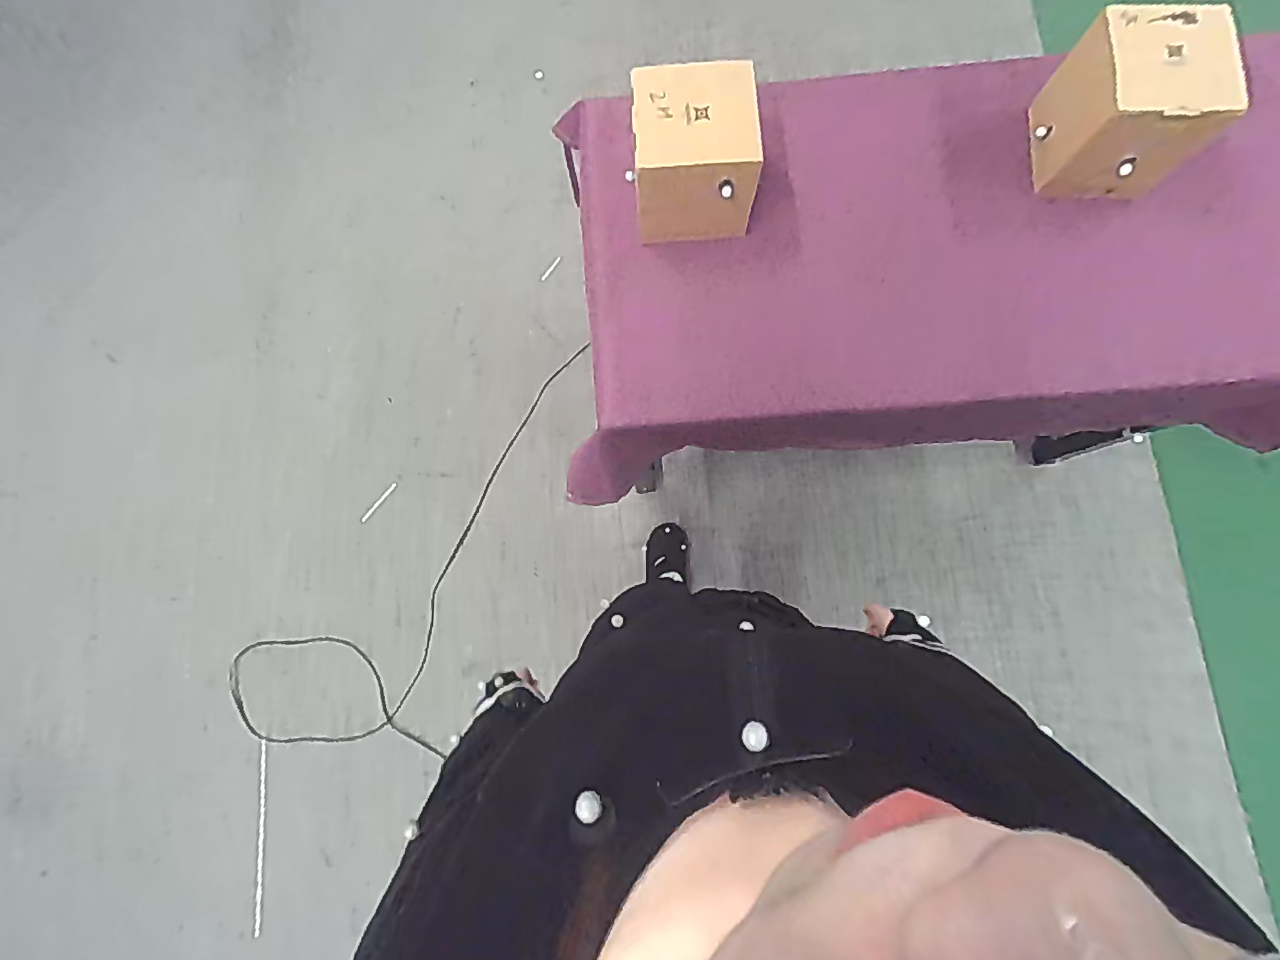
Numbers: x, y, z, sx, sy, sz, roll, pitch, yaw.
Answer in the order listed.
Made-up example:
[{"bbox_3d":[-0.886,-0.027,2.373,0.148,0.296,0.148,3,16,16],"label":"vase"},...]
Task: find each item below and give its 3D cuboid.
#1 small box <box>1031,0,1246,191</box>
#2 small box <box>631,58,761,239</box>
[{"bbox_3d":[0.718,-0.559,0.801,0.168,0.176,0.179,3,80,3],"label":"small box"},{"bbox_3d":[0.078,-0.492,0.823,0.179,0.176,0.168,-3,79,2],"label":"small box"}]
